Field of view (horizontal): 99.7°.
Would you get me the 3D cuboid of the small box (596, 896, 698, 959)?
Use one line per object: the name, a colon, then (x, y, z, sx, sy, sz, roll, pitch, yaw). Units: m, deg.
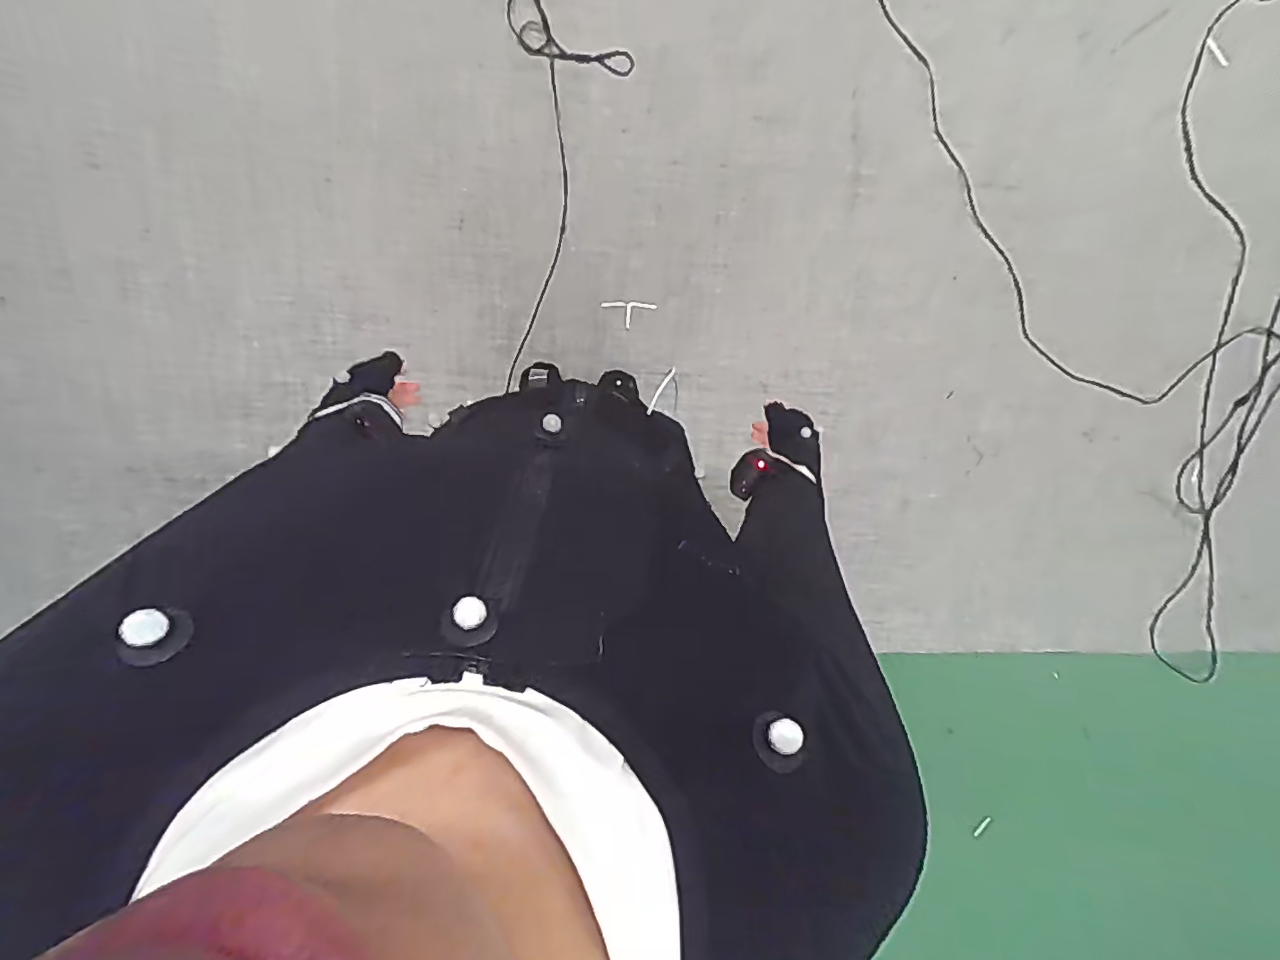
small box: (0.010, 0.831, 0.888, 0.168, 0.176, 0.179, 0, 104, -3)
